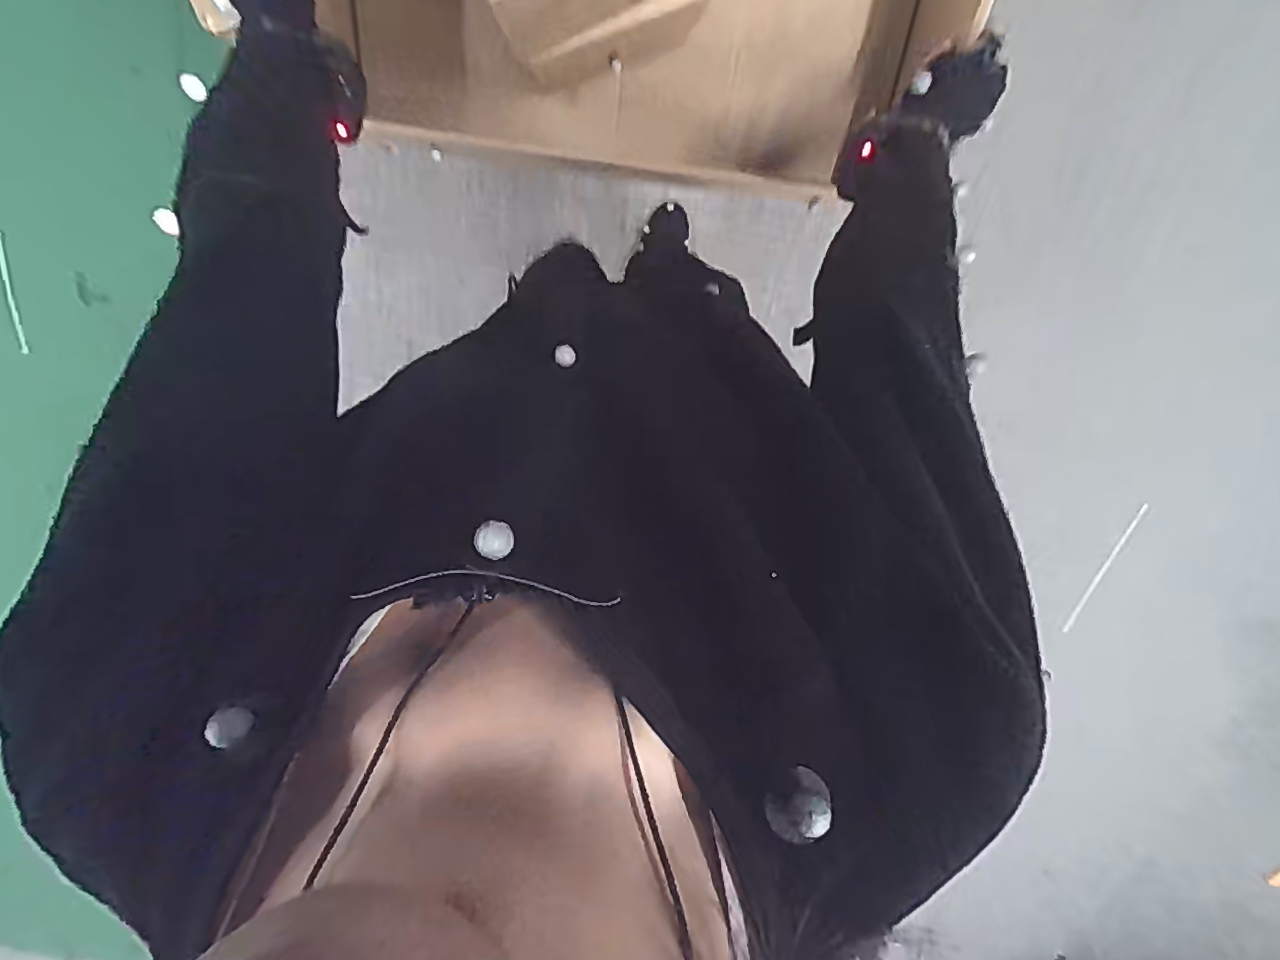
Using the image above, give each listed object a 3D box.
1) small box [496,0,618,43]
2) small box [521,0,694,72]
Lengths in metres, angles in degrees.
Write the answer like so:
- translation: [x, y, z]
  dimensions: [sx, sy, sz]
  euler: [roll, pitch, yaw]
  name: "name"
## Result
- translation: [-0.052, -0.415, 0.323]
  dimensions: [0.168, 0.176, 0.179]
  euler: [-22, 117, 7]
  name: "small box"
- translation: [-0.046, -0.488, 0.471]
  dimensions: [0.168, 0.176, 0.179]
  euler: [-18, 117, 4]
  name: "small box"
